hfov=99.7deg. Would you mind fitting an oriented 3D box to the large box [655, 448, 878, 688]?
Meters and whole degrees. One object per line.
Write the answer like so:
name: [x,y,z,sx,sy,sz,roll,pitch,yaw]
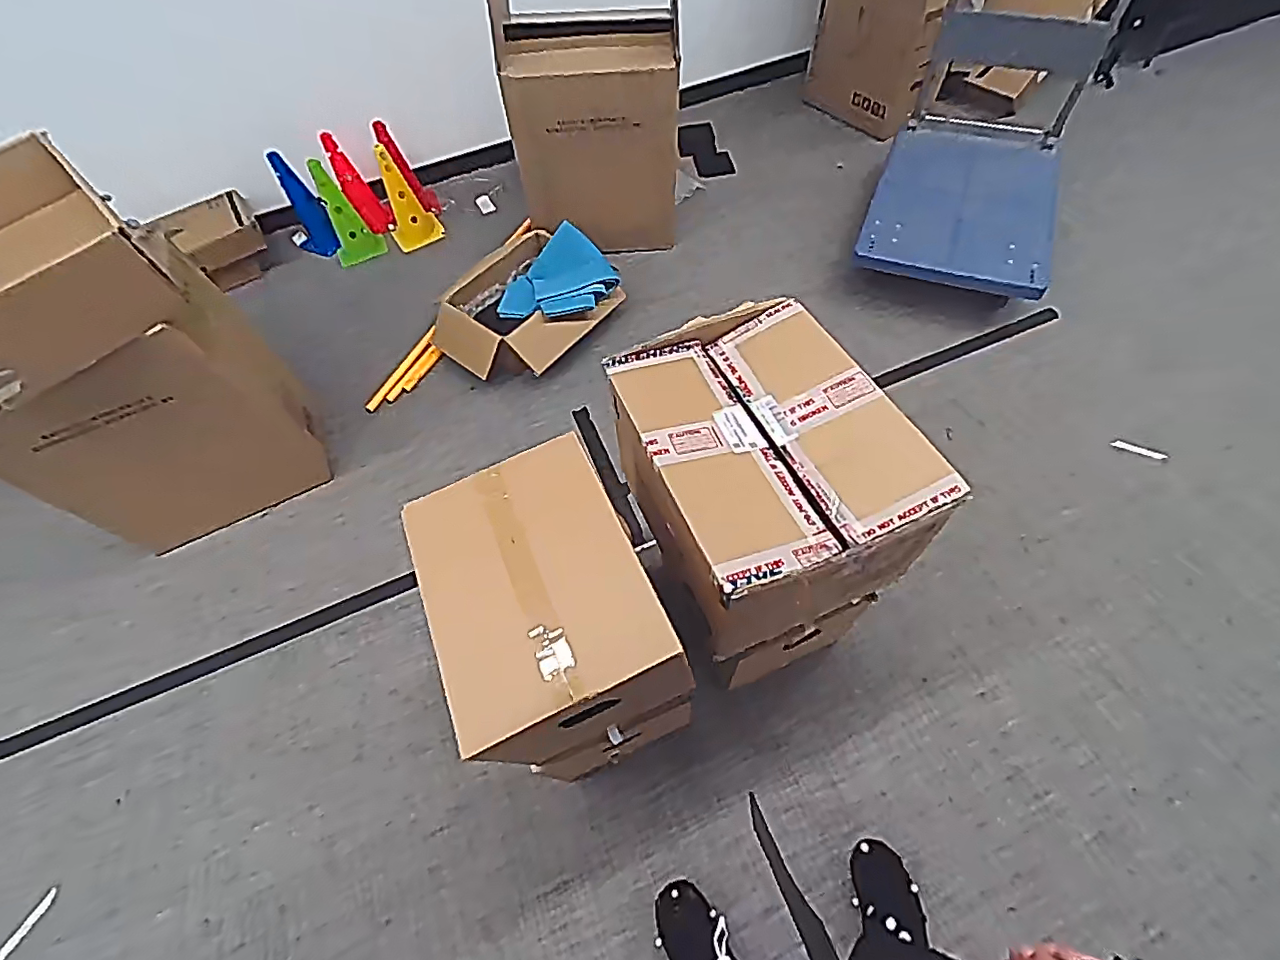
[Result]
large box: [0.258,0.207,1.263,0.320,0.320,0.408,-23,60,-9]
